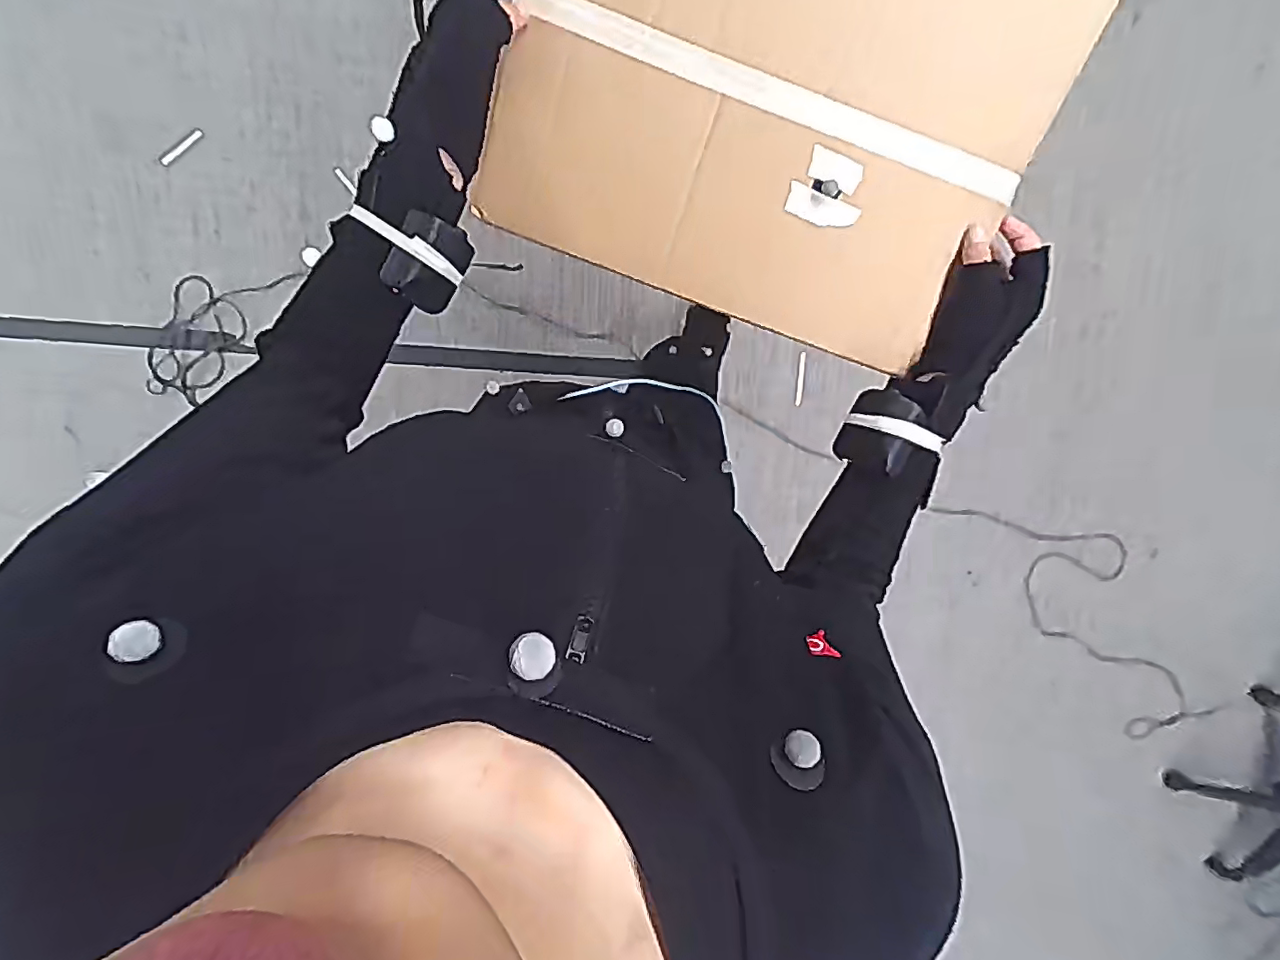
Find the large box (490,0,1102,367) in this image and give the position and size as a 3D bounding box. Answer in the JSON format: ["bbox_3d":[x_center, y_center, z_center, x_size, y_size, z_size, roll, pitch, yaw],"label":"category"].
[{"bbox_3d":[0.110,-0.349,0.560,0.408,0.320,0.320,19,112,-5],"label":"large box"}]
